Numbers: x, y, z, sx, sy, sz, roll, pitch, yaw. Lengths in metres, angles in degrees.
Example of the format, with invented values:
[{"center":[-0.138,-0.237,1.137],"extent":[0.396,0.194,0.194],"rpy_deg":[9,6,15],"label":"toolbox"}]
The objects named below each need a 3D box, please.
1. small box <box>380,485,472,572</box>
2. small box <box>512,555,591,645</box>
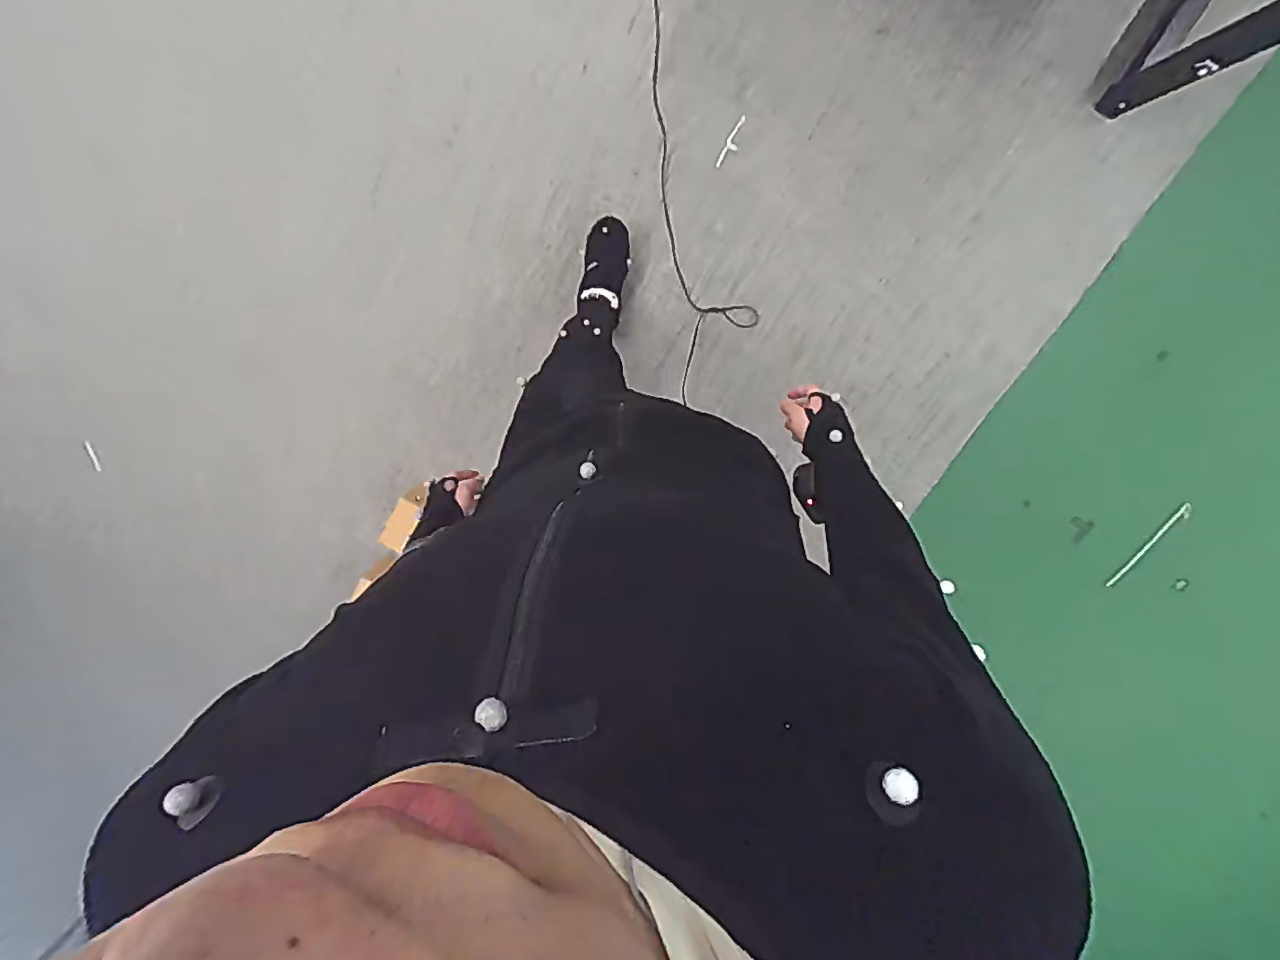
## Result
[{"center":[-0.633,0.136,1.621],"extent":[0.179,0.176,0.168],"rpy_deg":[31,107,-5],"label":"small box"},{"center":[-0.266,0.365,1.667],"extent":[0.168,0.176,0.179],"rpy_deg":[31,107,-6],"label":"small box"}]
